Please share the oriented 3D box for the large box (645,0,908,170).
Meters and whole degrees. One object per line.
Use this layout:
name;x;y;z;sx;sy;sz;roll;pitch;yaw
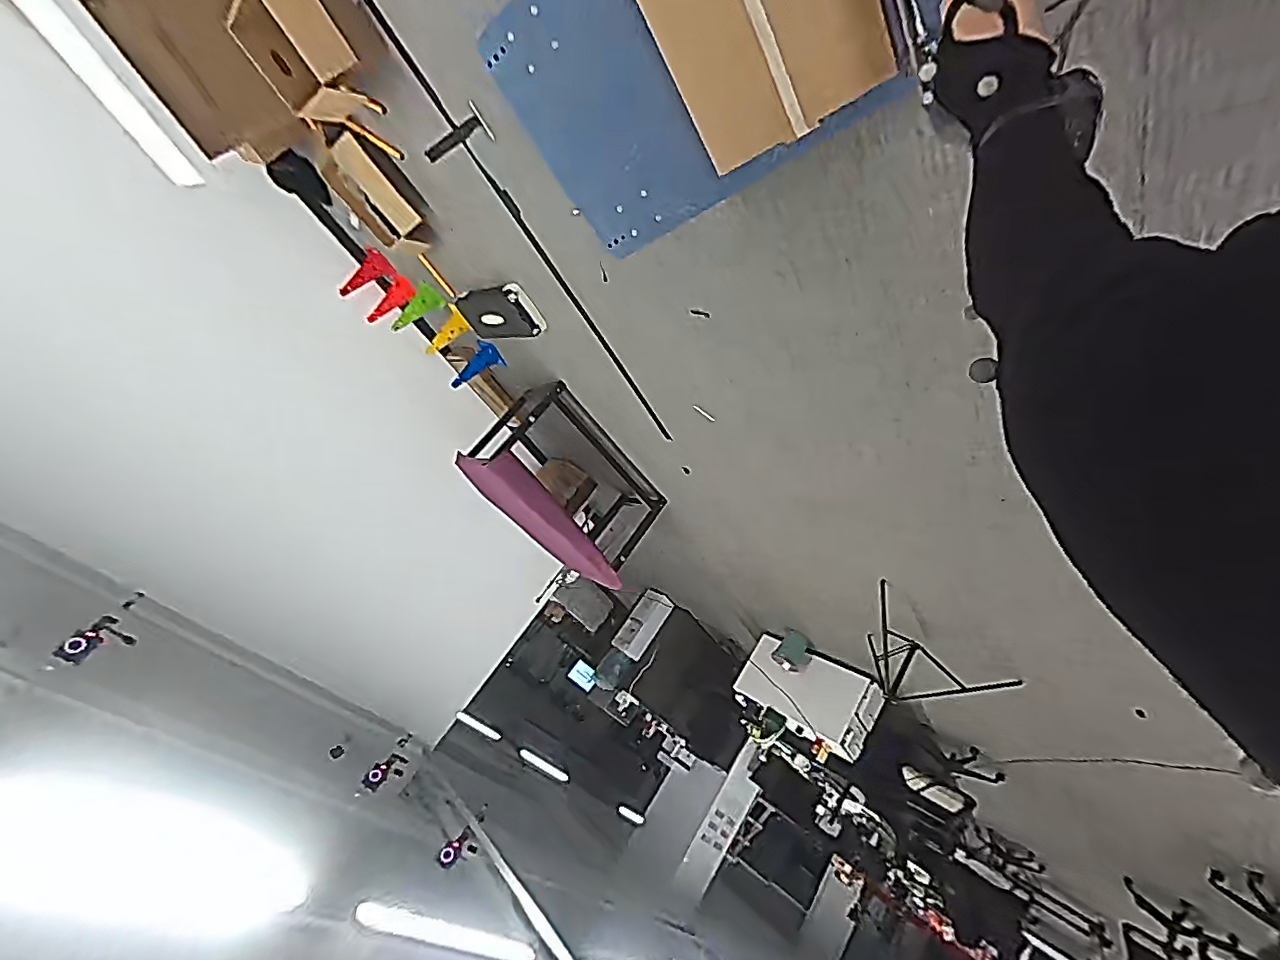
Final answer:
large box;0.225;-0.833;0.903;0.320;0.320;0.408;-14;127;36
